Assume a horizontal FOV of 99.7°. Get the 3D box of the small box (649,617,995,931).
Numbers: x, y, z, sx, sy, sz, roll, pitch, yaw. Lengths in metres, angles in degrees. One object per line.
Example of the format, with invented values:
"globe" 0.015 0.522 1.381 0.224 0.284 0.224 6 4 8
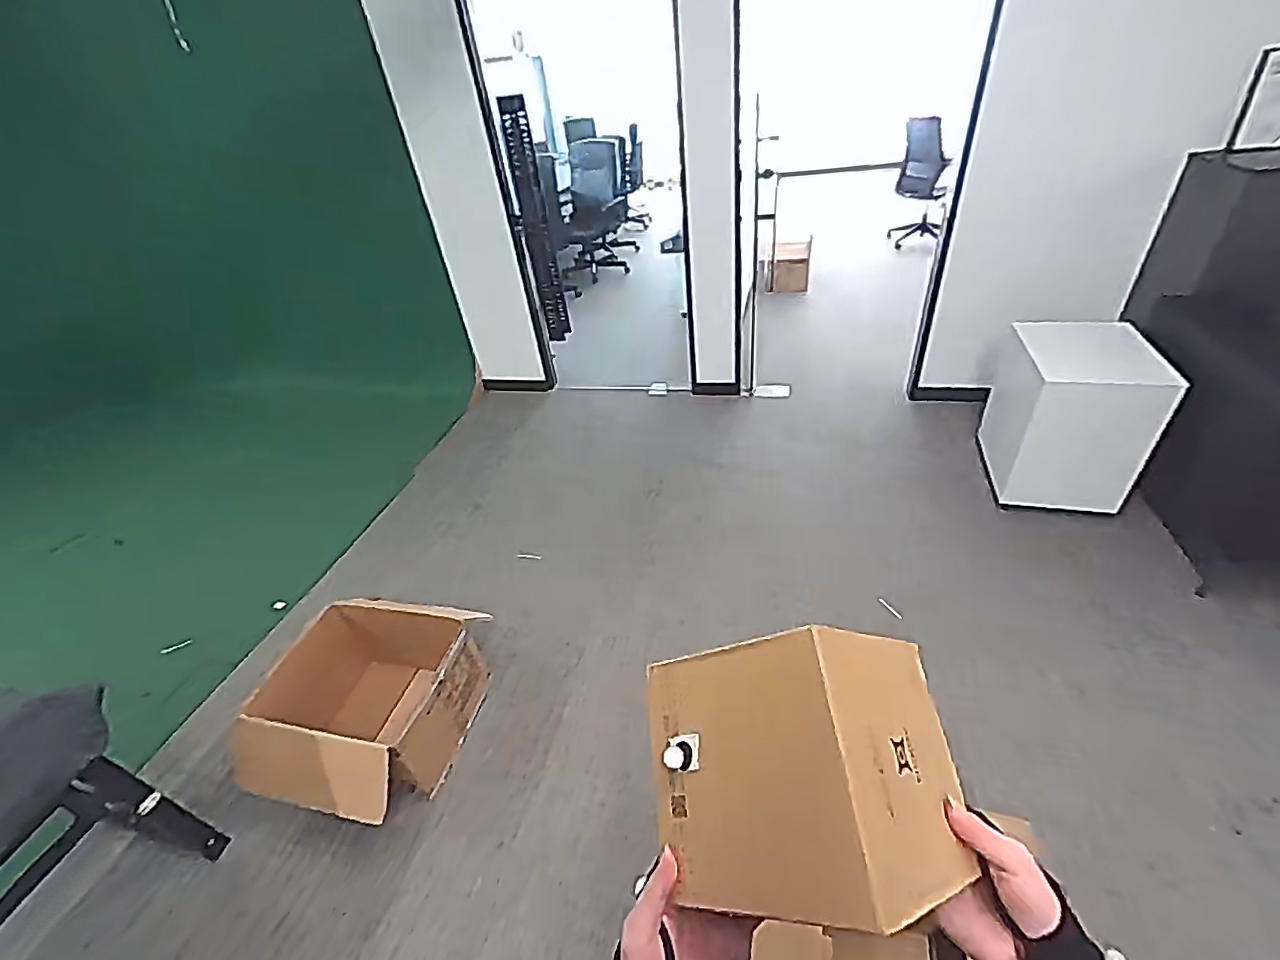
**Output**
"small box" 0.129 0.214 0.417 0.176 0.179 0.168 -31 53 38
